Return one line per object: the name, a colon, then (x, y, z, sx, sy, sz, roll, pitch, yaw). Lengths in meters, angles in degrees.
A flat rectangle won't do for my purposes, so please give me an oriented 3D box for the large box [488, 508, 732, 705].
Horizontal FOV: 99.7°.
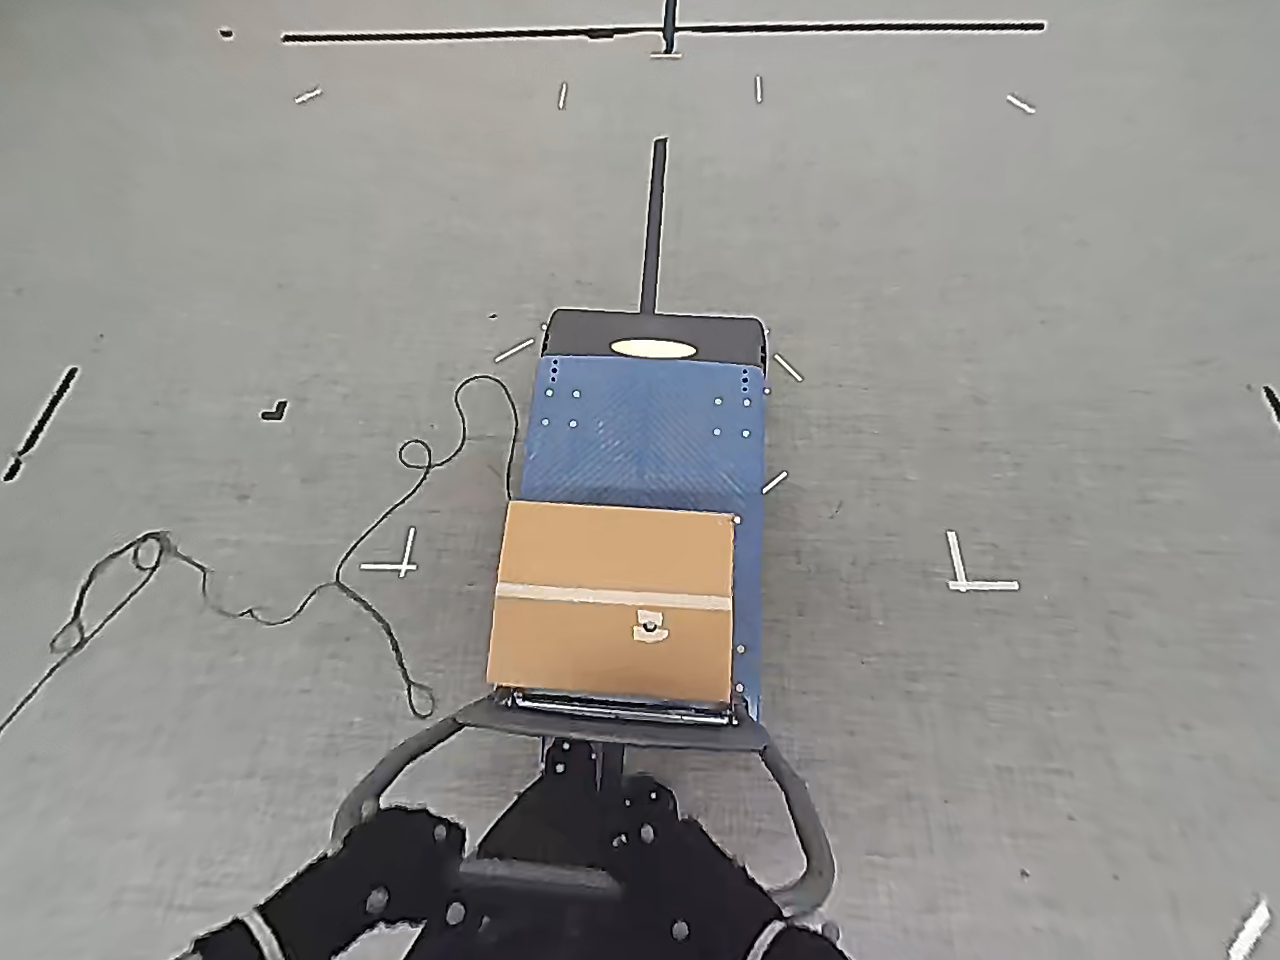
large box: (-0.043, 0.245, 1.058, 0.408, 0.320, 0.320, 4, 76, 2)
